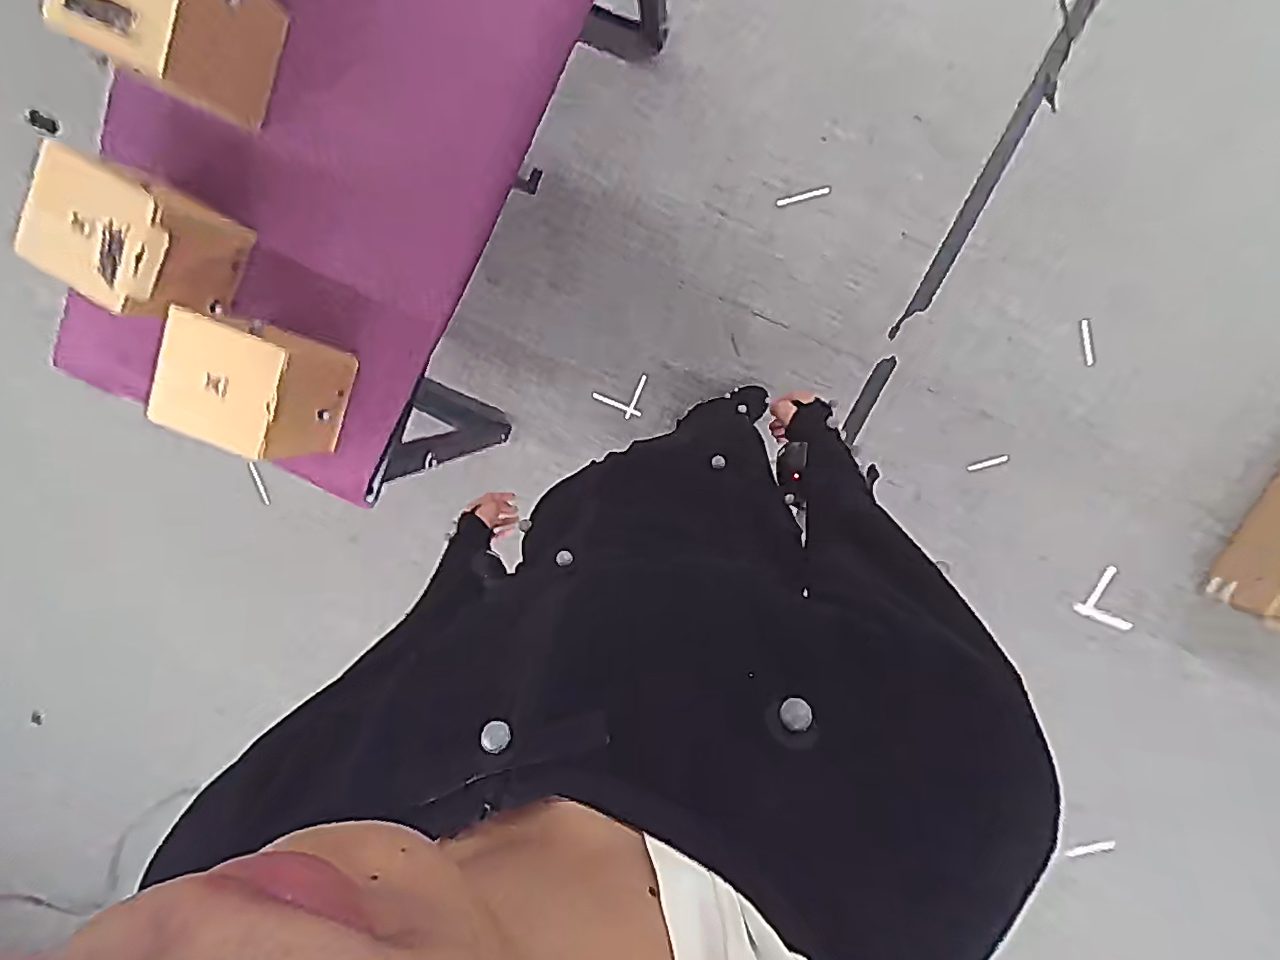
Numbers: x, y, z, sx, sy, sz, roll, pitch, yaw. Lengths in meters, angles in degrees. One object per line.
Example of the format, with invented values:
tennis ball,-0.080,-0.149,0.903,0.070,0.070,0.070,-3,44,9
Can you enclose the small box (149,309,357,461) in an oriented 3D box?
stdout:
small box,-0.577,-0.141,0.825,0.179,0.176,0.168,21,100,1

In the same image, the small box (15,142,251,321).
small box,-0.734,-0.349,0.802,0.179,0.176,0.168,30,101,-1
